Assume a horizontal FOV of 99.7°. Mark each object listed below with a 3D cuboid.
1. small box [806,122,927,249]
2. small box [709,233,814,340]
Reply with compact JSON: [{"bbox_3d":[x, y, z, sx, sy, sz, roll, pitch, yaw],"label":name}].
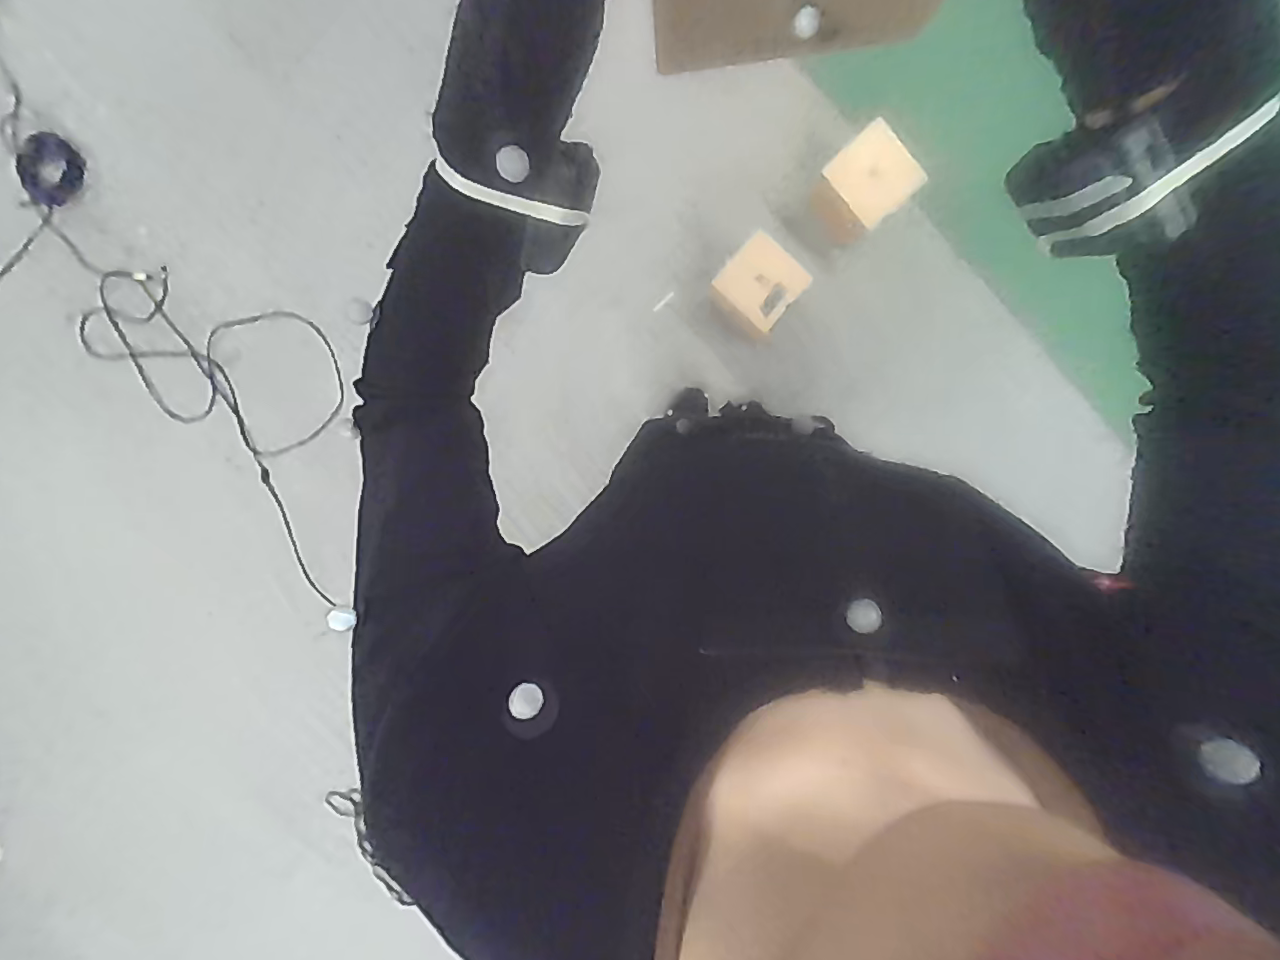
[{"bbox_3d":[0.521,-0.679,1.274,0.168,0.176,0.179,-42,95,9],"label":"small box"},{"bbox_3d":[0.287,-0.460,1.319,0.179,0.176,0.168,42,98,-3],"label":"small box"}]
